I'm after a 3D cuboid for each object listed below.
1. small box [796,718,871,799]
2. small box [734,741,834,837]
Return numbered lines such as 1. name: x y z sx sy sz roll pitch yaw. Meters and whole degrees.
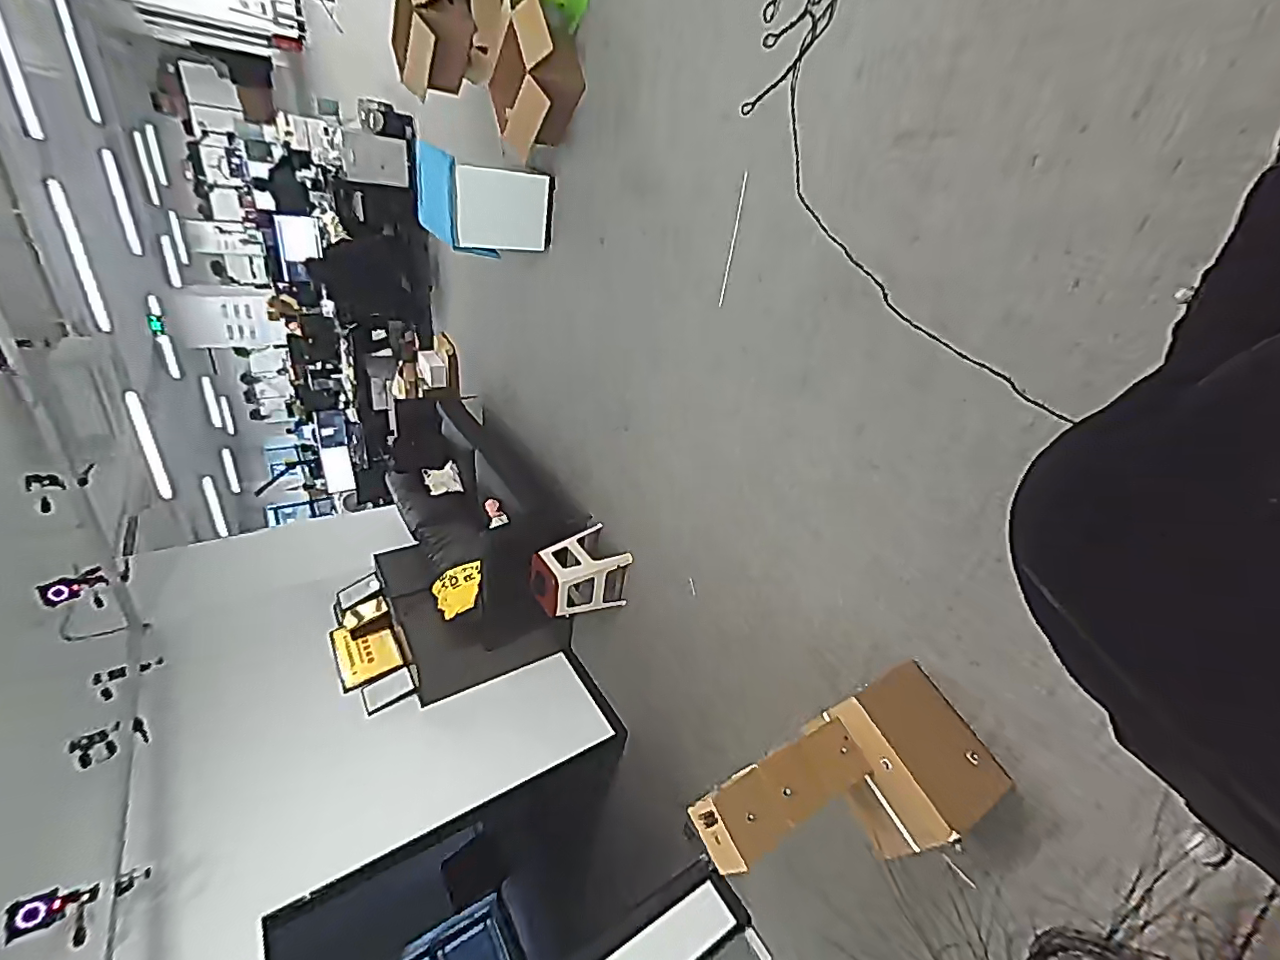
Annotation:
1. small box: 0.546 0.841 1.610 0.168 0.176 0.179 57 144 28
2. small box: 0.407 0.866 1.531 0.179 0.176 0.168 58 144 27
